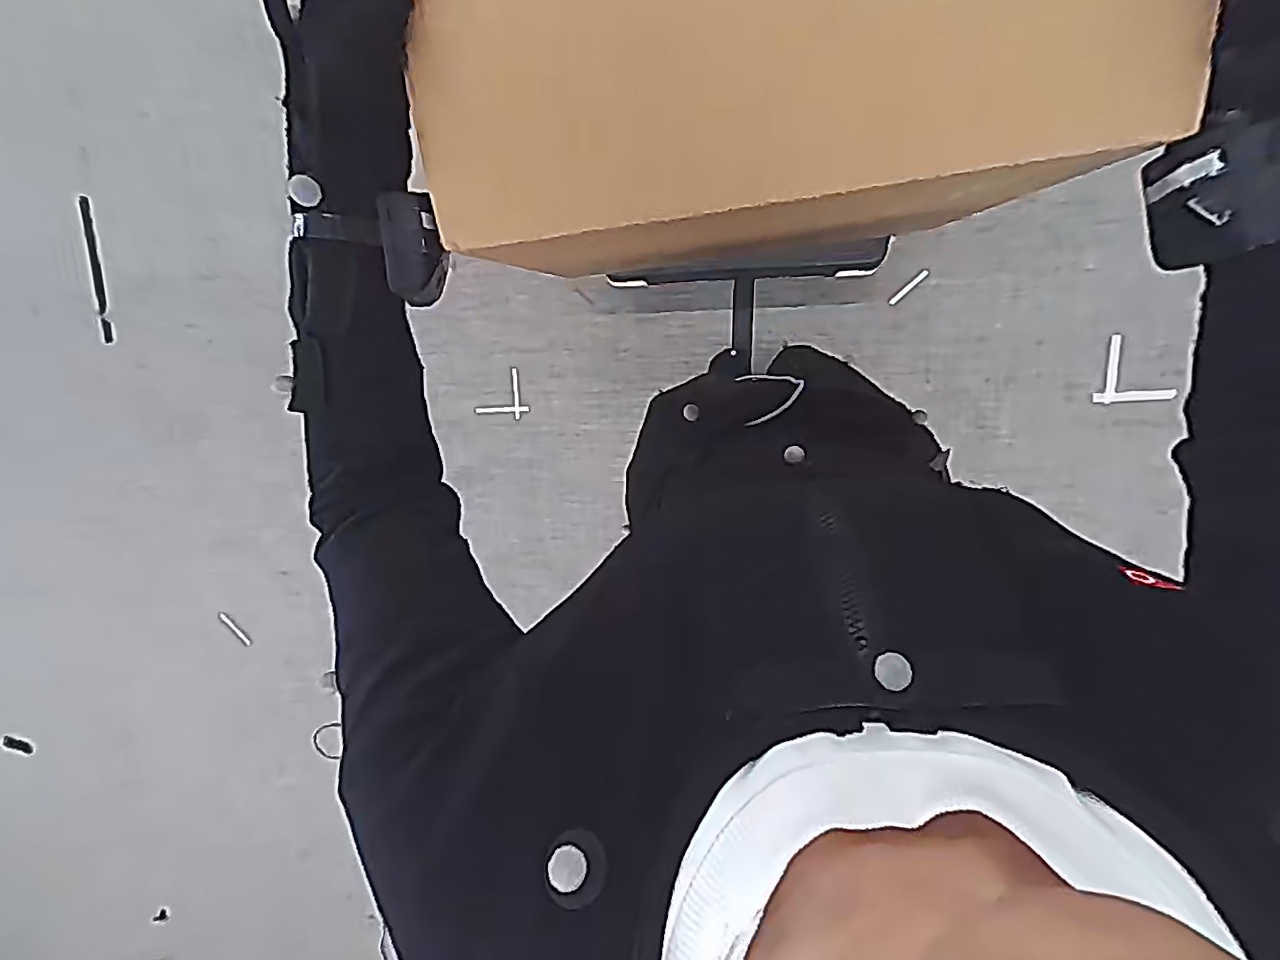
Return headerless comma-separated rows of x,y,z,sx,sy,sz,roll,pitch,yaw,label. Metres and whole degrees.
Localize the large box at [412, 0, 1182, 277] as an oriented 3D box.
0.076,-0.357,0.413,0.408,0.320,0.320,-6,107,7,large box
